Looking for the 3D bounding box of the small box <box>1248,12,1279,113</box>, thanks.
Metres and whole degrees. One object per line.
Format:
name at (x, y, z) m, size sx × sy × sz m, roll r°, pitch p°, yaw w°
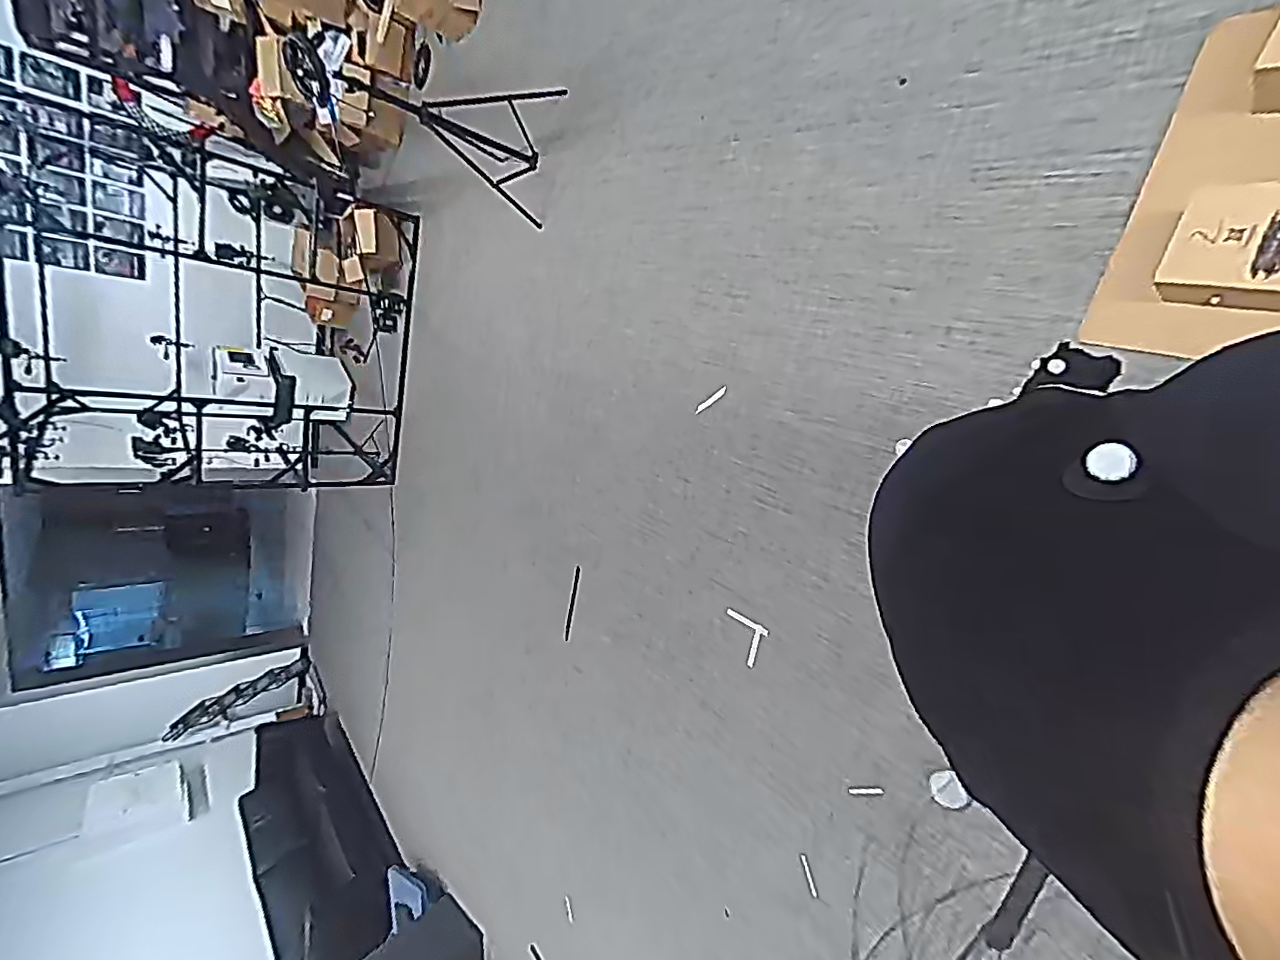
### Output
small box at (1.135, -0.711, 0.862) m, size 0.179 × 0.176 × 0.168 m, roll 34°, pitch 116°, yaw 41°
